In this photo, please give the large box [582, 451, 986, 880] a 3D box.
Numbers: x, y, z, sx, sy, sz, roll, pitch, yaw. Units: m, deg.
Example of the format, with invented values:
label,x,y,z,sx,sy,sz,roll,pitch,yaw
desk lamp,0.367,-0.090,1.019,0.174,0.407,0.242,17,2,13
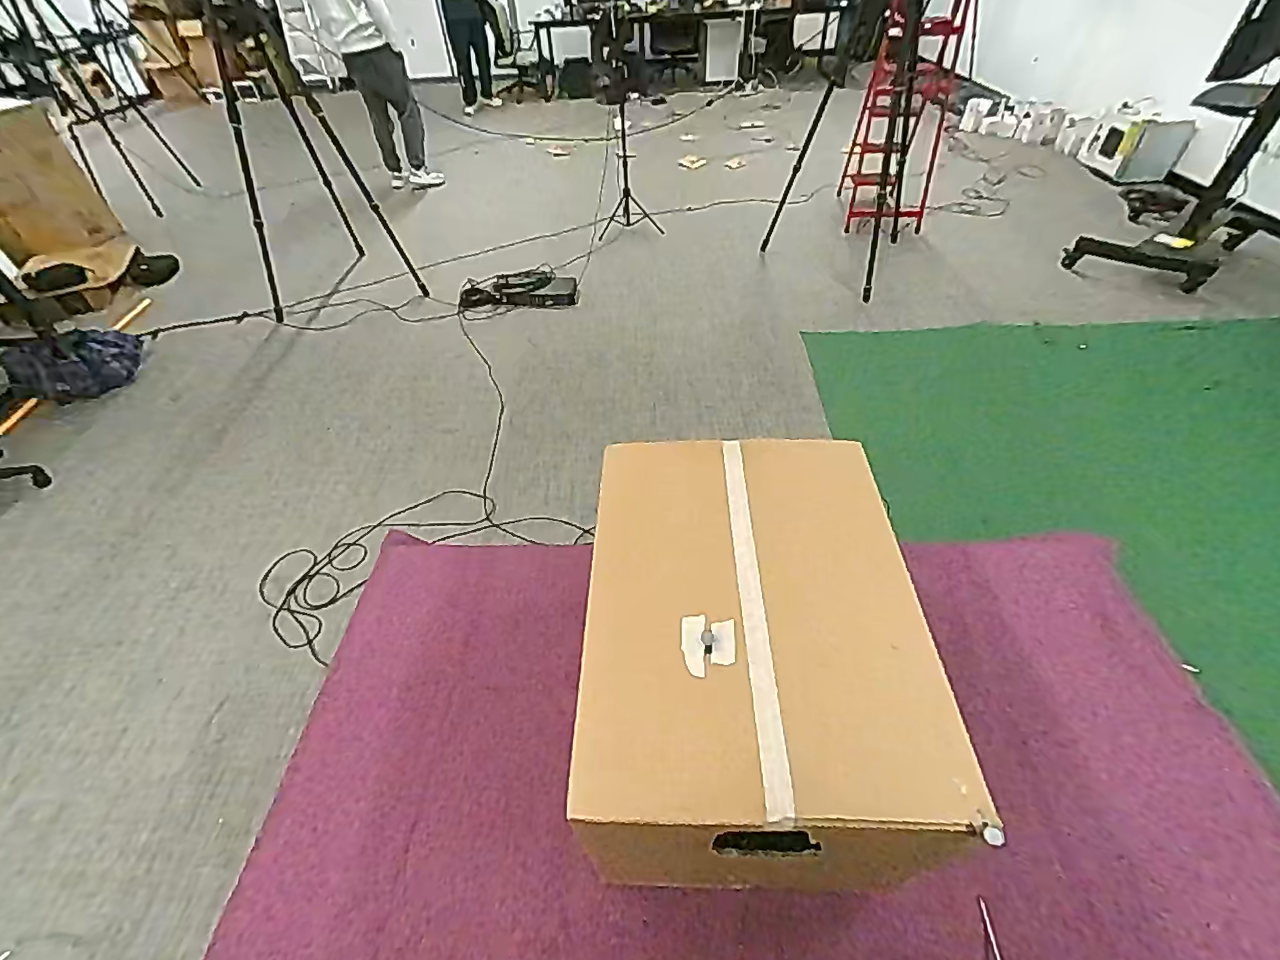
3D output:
label,x,y,z,sx,sy,sz,roll,pitch,yaw
large box,0.114,0.212,0.651,0.320,0.320,0.408,-1,47,3
